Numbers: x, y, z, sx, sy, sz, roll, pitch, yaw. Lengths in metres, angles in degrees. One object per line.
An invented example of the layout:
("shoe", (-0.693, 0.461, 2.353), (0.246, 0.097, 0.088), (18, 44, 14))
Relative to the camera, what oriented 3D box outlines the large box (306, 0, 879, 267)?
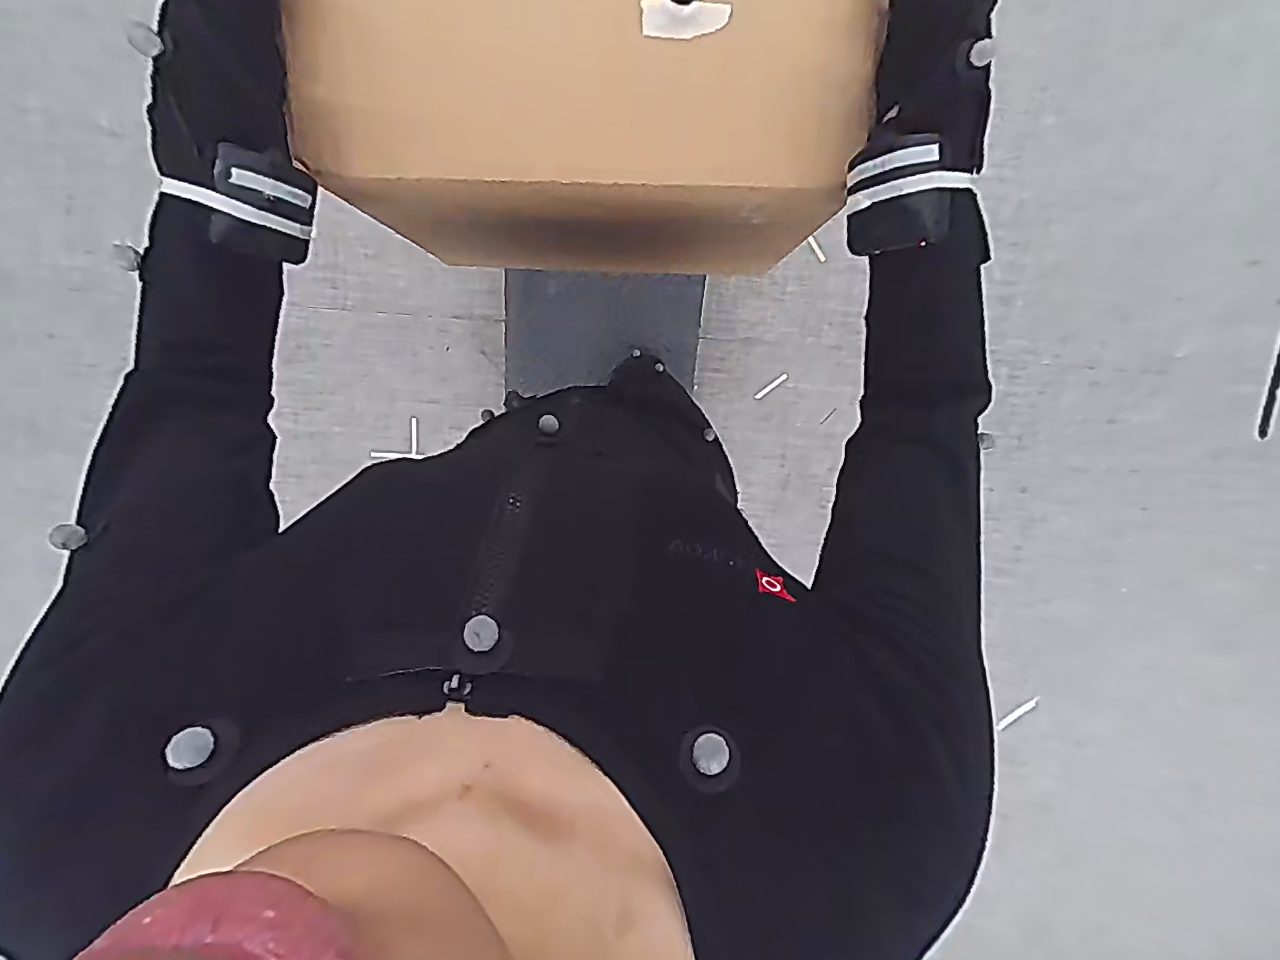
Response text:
("large box", (-0.034, -0.398, 0.513), (0.408, 0.320, 0.320), (1, 100, -1))
